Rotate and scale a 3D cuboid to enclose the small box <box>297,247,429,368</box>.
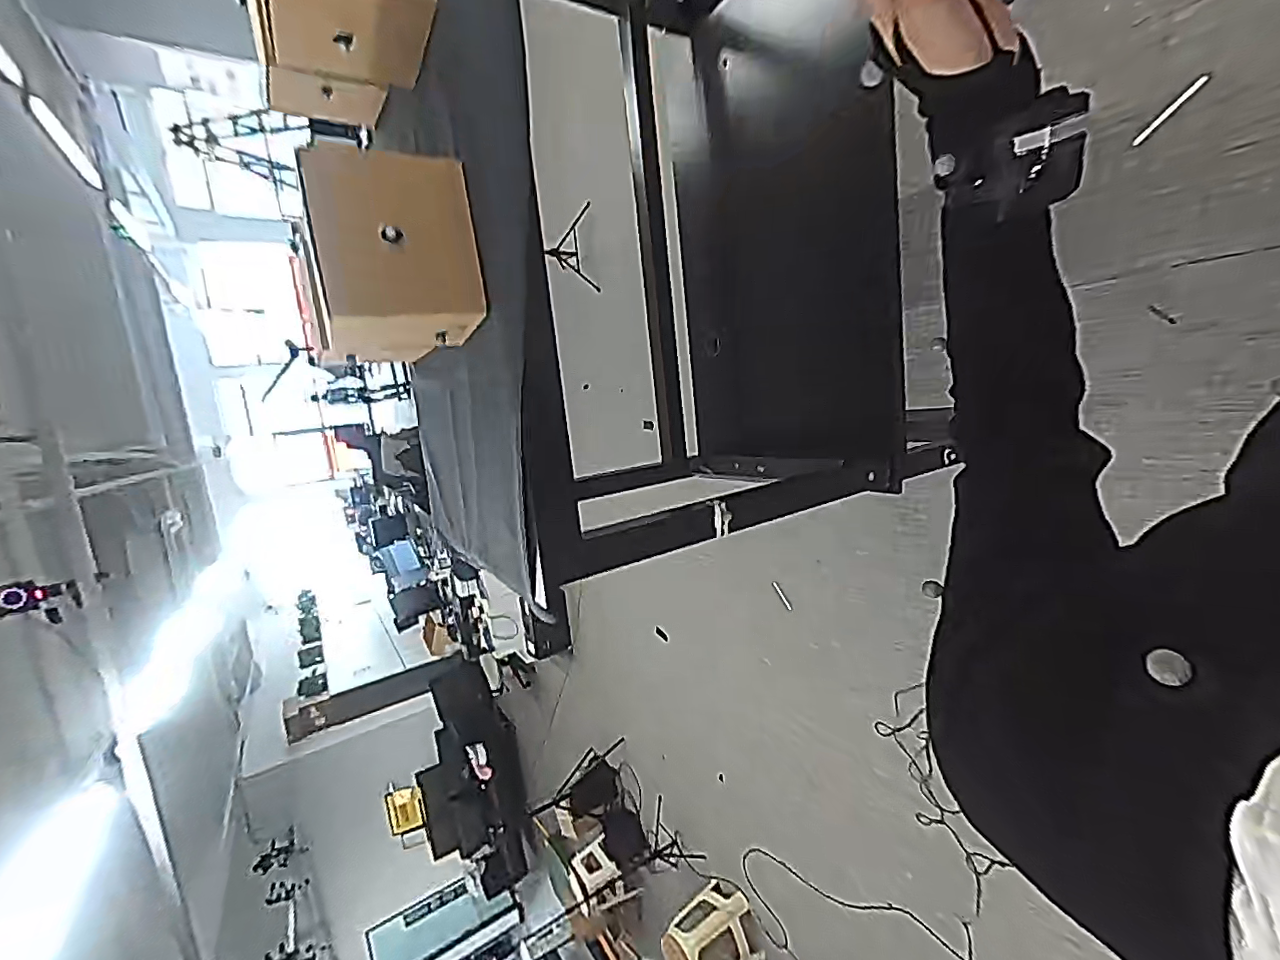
[{"bbox_3d":[-0.468,-0.287,0.920,0.179,0.176,0.168,6,105,57],"label":"small box"}]

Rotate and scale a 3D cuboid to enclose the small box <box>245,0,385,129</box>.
[{"bbox_3d":[-0.518,-0.694,0.867,0.179,0.176,0.168,17,113,56],"label":"small box"}]

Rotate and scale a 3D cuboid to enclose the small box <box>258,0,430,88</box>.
[{"bbox_3d":[-0.349,-0.593,0.622,0.179,0.176,0.168,10,109,59],"label":"small box"}]
